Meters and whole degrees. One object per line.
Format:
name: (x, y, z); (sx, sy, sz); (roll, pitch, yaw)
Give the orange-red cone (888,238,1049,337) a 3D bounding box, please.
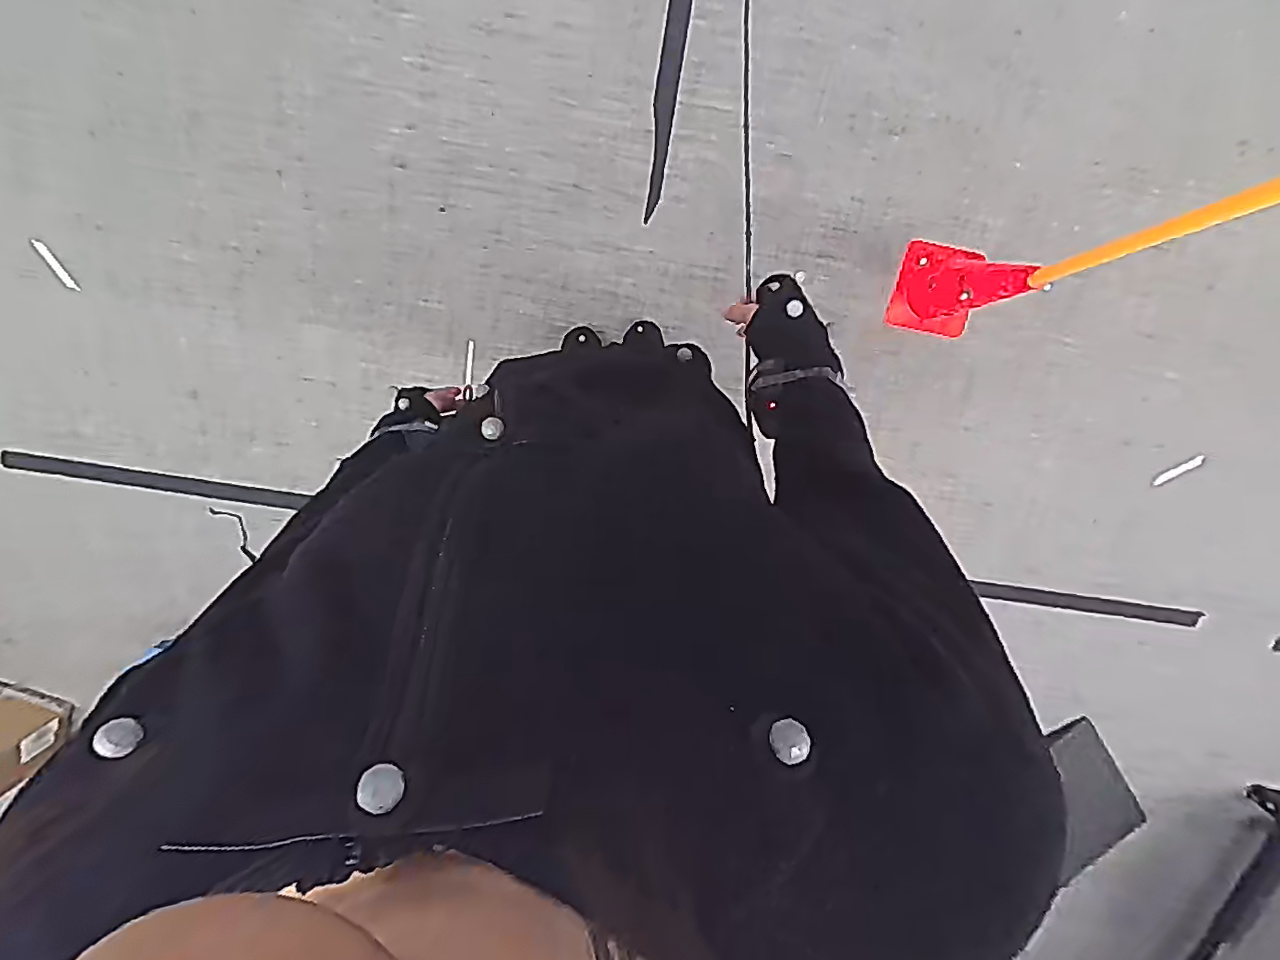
orange-red cone: (0.713, -0.410, 1.131); (0.198, 0.360, 0.199); (12, 106, -3)
